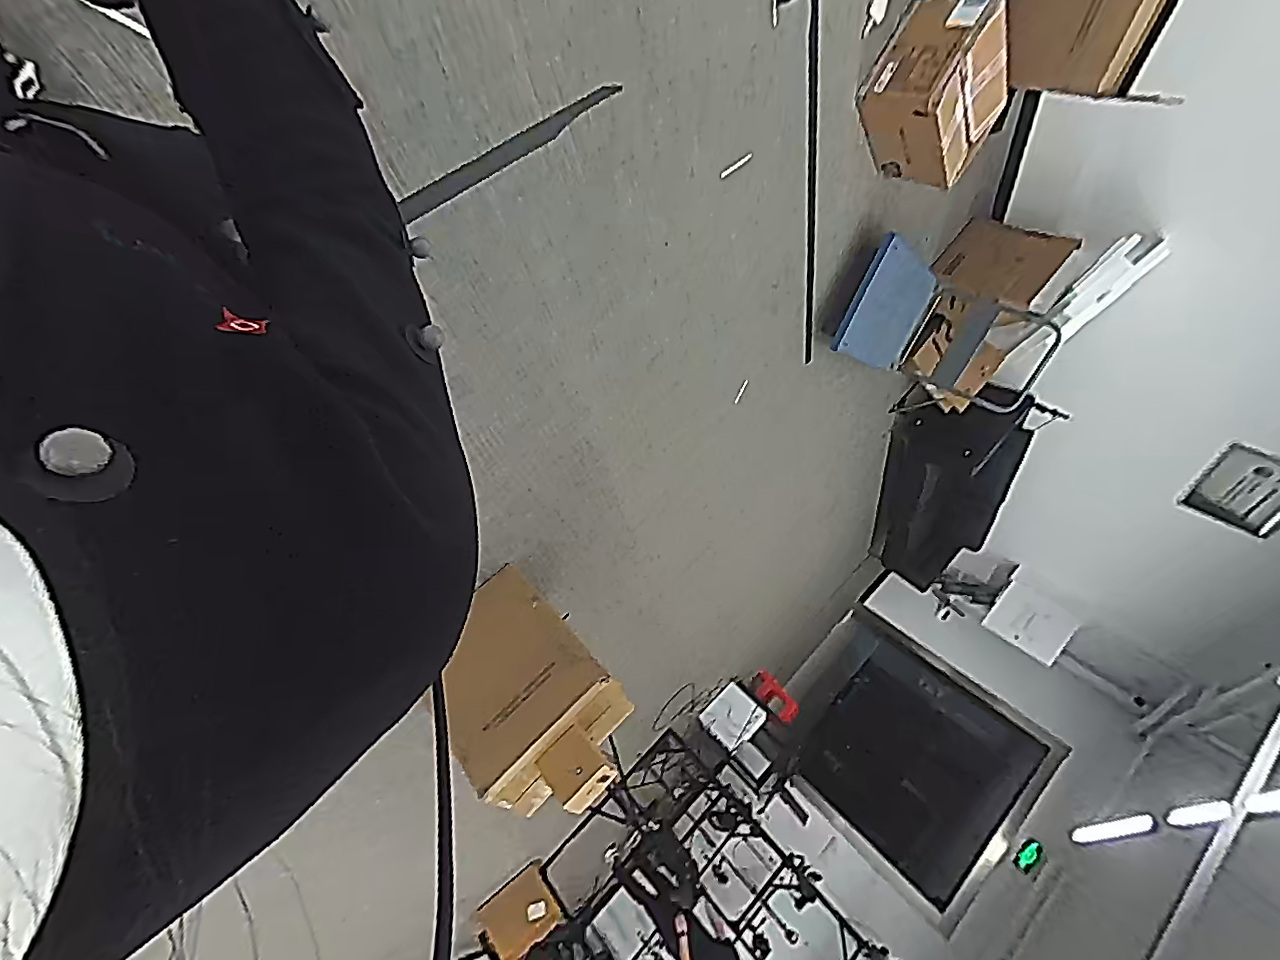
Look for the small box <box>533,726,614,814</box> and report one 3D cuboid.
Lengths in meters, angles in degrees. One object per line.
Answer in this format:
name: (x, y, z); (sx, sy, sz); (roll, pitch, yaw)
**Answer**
small box: (-0.215, 0.934, 1.750); (0.179, 0.176, 0.168); (-40, 143, -17)
